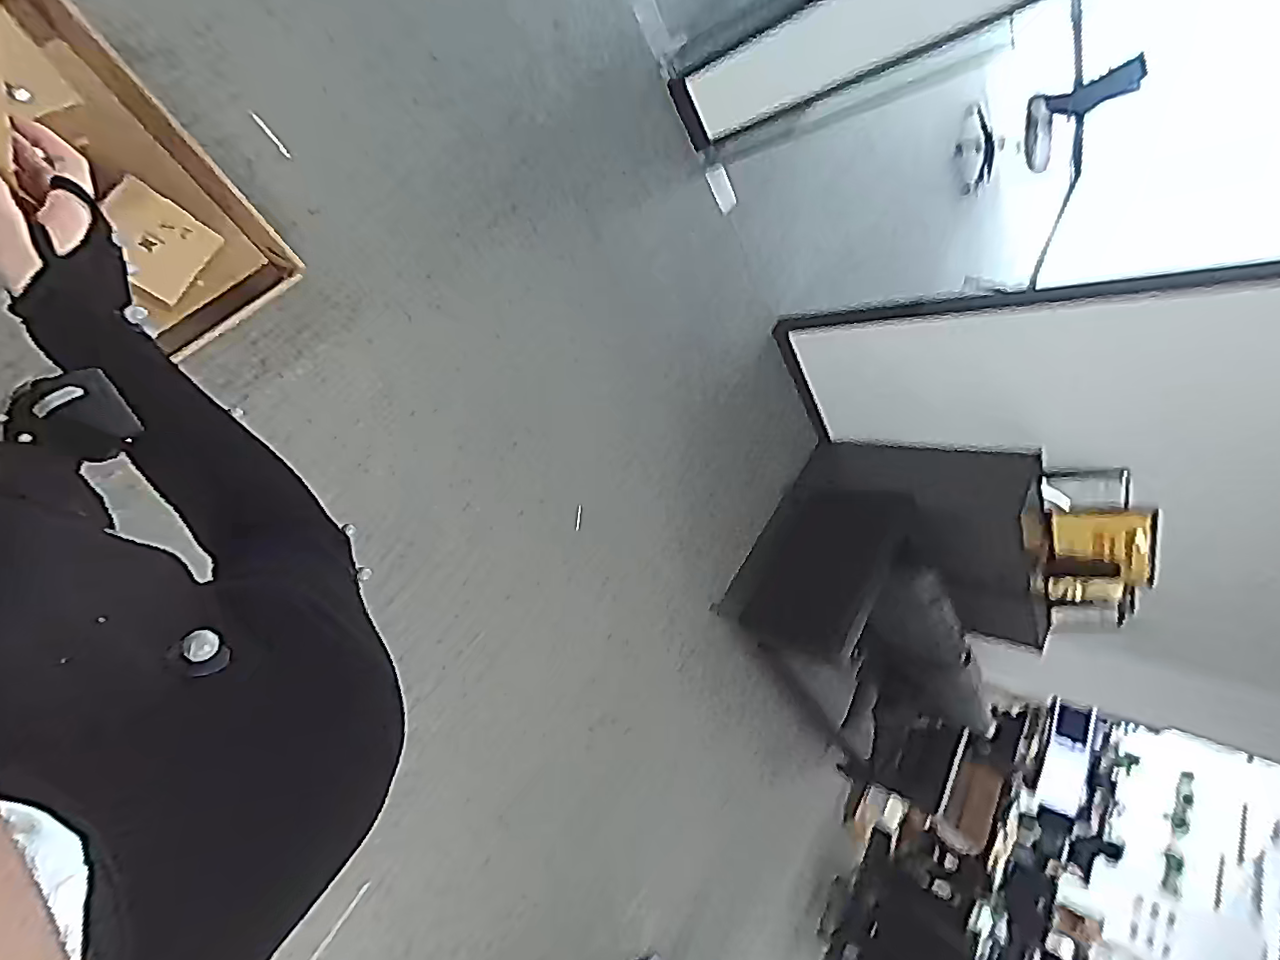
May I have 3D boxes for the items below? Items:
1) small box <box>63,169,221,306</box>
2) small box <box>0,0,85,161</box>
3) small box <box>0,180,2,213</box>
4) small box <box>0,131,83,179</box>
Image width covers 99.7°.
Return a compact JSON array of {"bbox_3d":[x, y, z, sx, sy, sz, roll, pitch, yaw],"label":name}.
[{"bbox_3d":[-0.990,-0.473,1.087,0.168,0.176,0.179,39,70,-40],"label":"small box"},{"bbox_3d":[-1.008,-0.620,0.819,0.168,0.176,0.179,-48,127,-27],"label":"small box"},{"bbox_3d":[-0.588,-0.308,0.383,0.168,0.176,0.179,-8,97,-49],"label":"small box"},{"bbox_3d":[-1.122,-0.642,0.935,0.179,0.176,0.168,-42,124,-33],"label":"small box"}]
